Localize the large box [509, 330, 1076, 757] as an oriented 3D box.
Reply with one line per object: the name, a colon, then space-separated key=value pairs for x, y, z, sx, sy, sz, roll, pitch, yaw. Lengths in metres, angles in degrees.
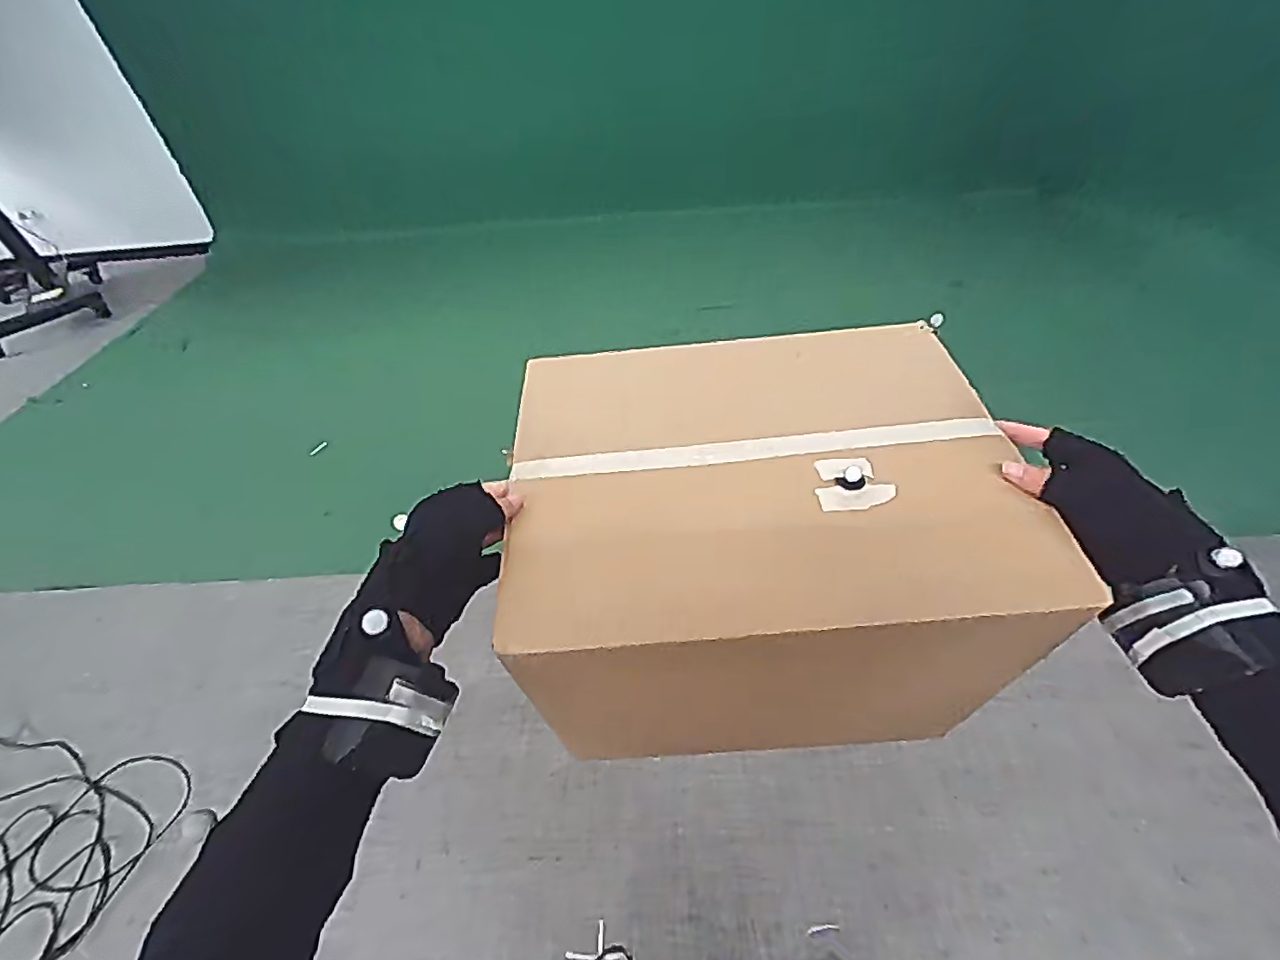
large box: x=0.105 y=0.077 z=0.580 sx=0.408 sy=0.320 sz=0.320 roll=-6 pitch=51 yaw=2
